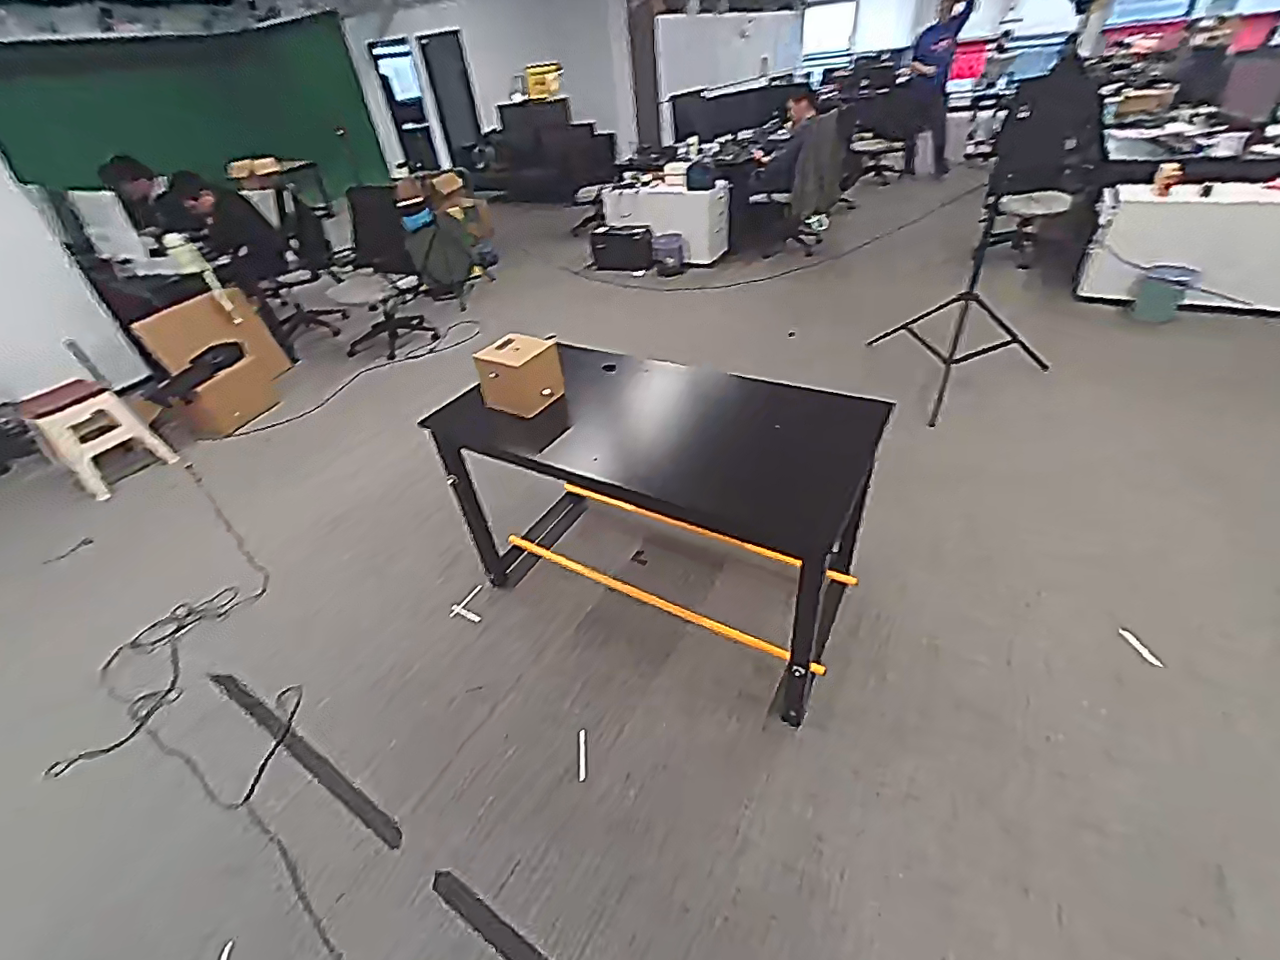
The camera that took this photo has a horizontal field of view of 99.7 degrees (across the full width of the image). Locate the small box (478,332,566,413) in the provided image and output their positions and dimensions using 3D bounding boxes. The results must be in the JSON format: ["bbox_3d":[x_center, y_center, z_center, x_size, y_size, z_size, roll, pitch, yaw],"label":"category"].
[{"bbox_3d":[-0.342,-0.317,1.597,0.179,0.176,0.168,19,45,27],"label":"small box"}]
